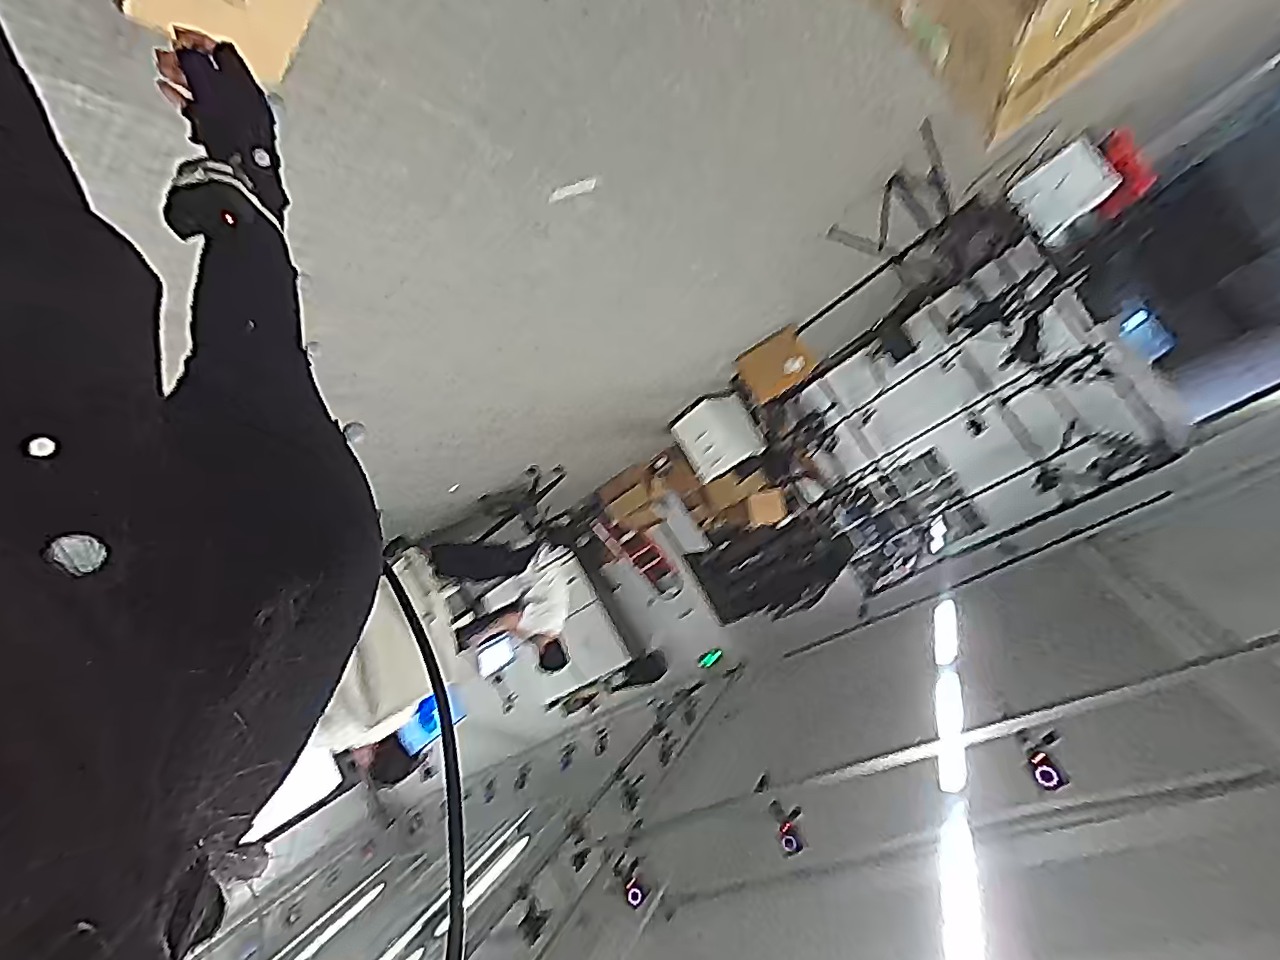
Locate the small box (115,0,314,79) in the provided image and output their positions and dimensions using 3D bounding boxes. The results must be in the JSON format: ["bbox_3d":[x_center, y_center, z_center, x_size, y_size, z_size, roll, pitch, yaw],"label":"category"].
[{"bbox_3d":[-0.514,-0.644,0.634,0.179,0.176,0.168,-35,171,27],"label":"small box"}]
